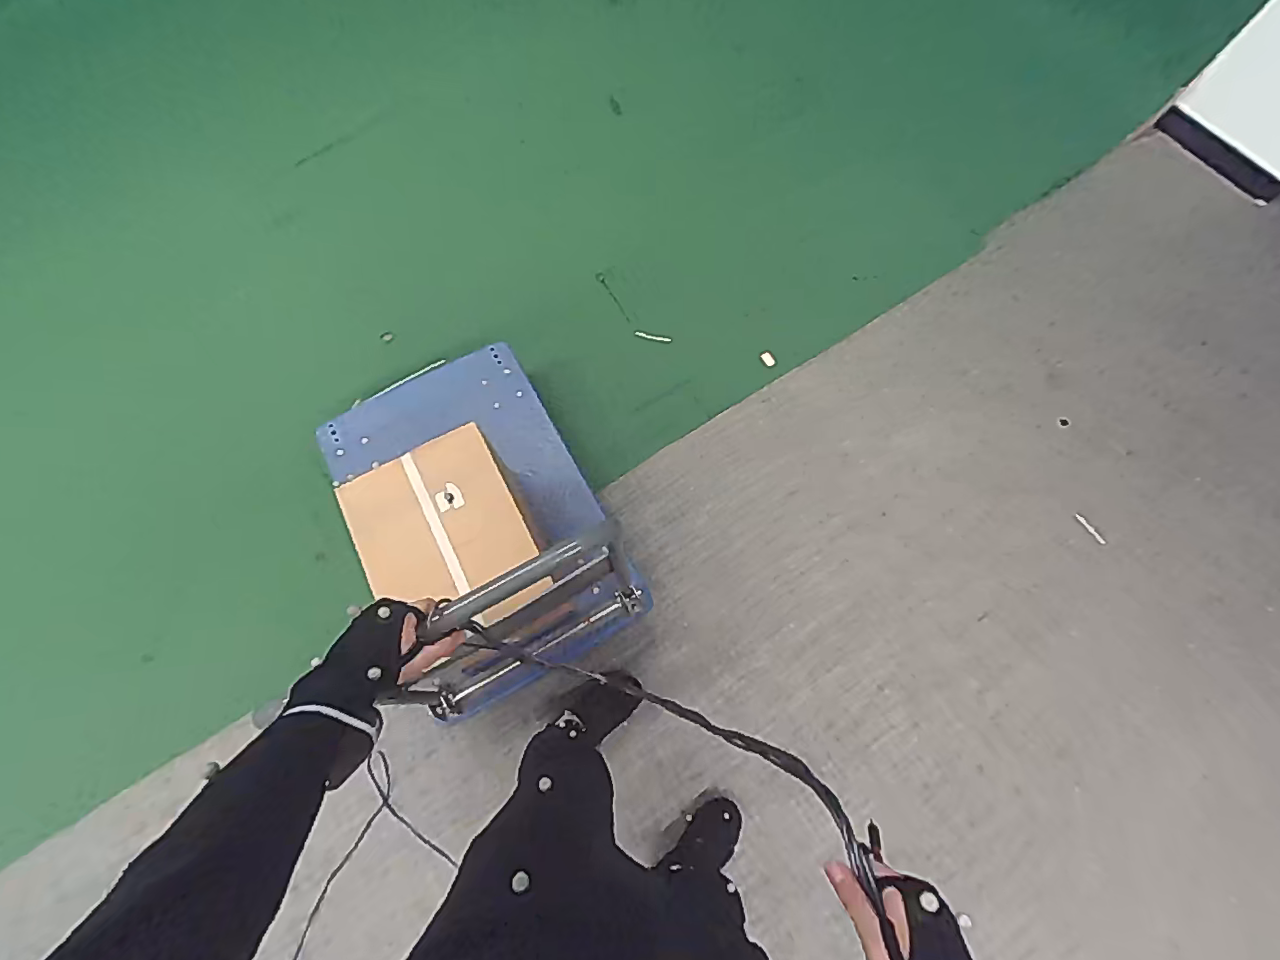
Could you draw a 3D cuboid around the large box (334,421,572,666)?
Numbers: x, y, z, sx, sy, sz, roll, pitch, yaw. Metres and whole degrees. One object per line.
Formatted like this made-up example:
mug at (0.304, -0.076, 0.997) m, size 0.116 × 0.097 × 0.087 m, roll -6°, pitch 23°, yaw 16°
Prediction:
large box at (-0.390, 0.154, 1.201) m, size 0.320 × 0.320 × 0.408 m, roll -27°, pitch 73°, yaw -9°
